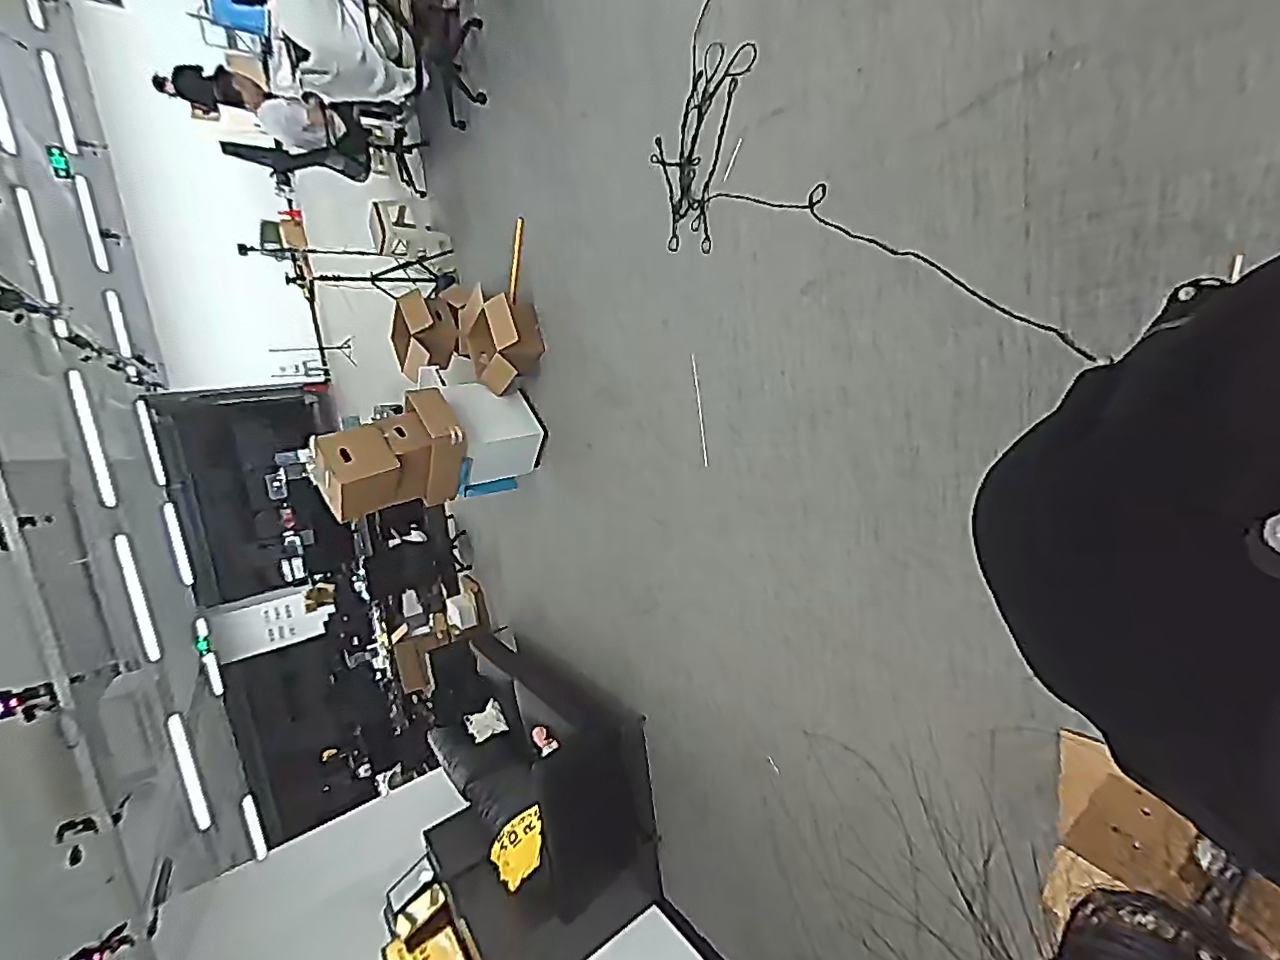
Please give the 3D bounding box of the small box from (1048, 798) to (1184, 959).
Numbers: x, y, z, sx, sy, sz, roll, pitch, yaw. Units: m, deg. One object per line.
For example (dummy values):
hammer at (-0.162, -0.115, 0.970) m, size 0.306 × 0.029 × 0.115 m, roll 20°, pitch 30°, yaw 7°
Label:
small box at (1.006, 0.831, 1.144) m, size 0.168 × 0.176 × 0.179 m, roll 21°, pitch 118°, yaw 50°

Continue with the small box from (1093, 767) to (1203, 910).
small box at (1.141, 0.803, 1.232) m, size 0.168 × 0.176 × 0.179 m, roll 18°, pitch 116°, yaw 53°
